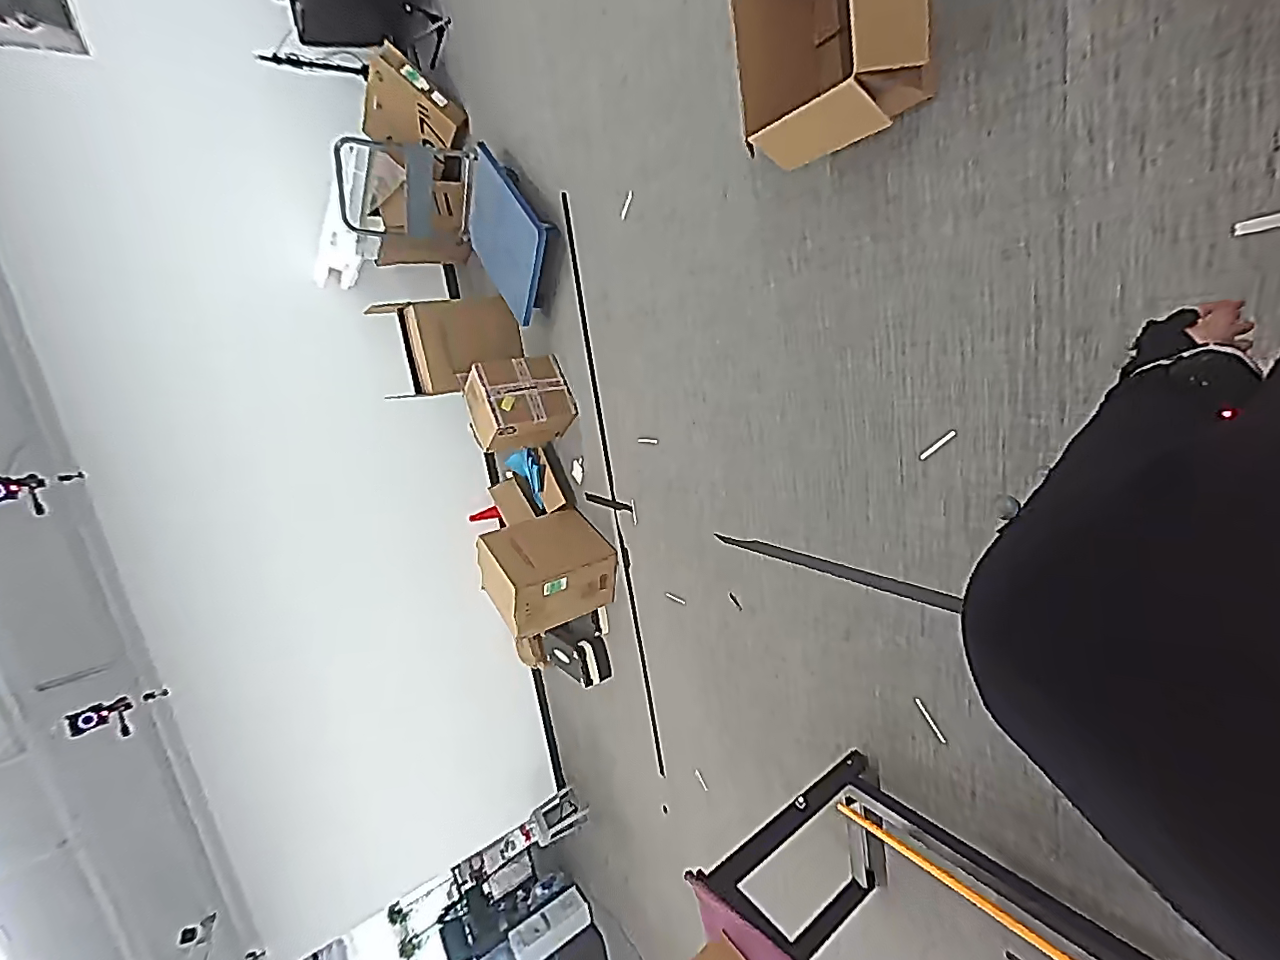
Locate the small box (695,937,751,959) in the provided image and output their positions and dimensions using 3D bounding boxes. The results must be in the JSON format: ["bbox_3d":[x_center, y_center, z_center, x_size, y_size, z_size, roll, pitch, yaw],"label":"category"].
[{"bbox_3d":[0.237,1.367,1.426,0.179,0.176,0.168,13,117,55],"label":"small box"}]
